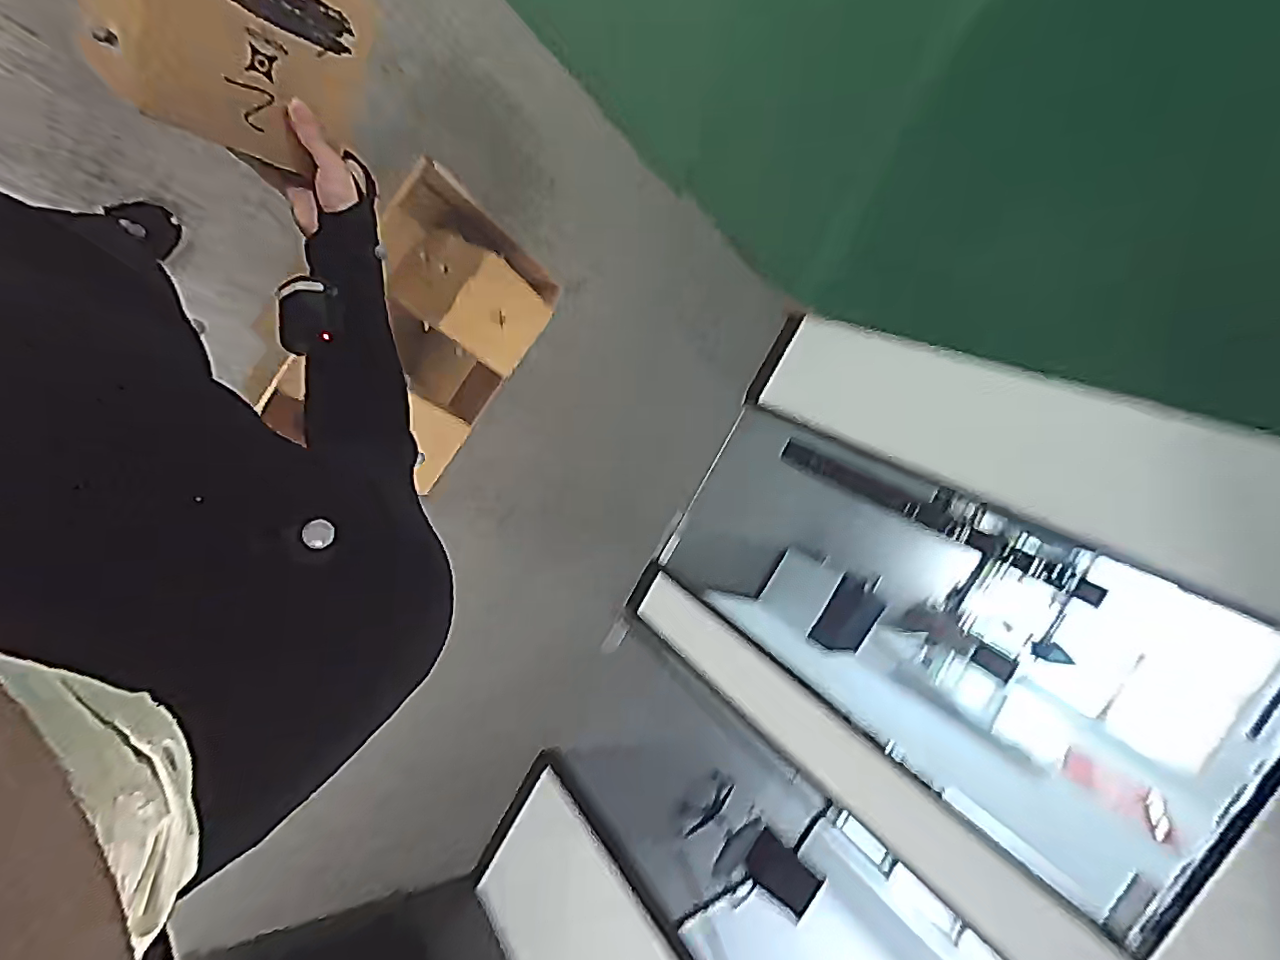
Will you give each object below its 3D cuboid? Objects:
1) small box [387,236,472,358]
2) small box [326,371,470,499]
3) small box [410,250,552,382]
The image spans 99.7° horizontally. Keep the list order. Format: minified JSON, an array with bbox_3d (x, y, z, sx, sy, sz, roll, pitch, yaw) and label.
[{"bbox_3d":[-0.416,-0.401,1.175,0.179,0.176,0.168,-53,138,-2],"label":"small box"},{"bbox_3d":[-0.478,-0.094,1.061,0.168,0.176,0.179,-54,139,-1],"label":"small box"},{"bbox_3d":[-0.315,-0.328,1.068,0.168,0.176,0.179,-54,138,-1],"label":"small box"}]
